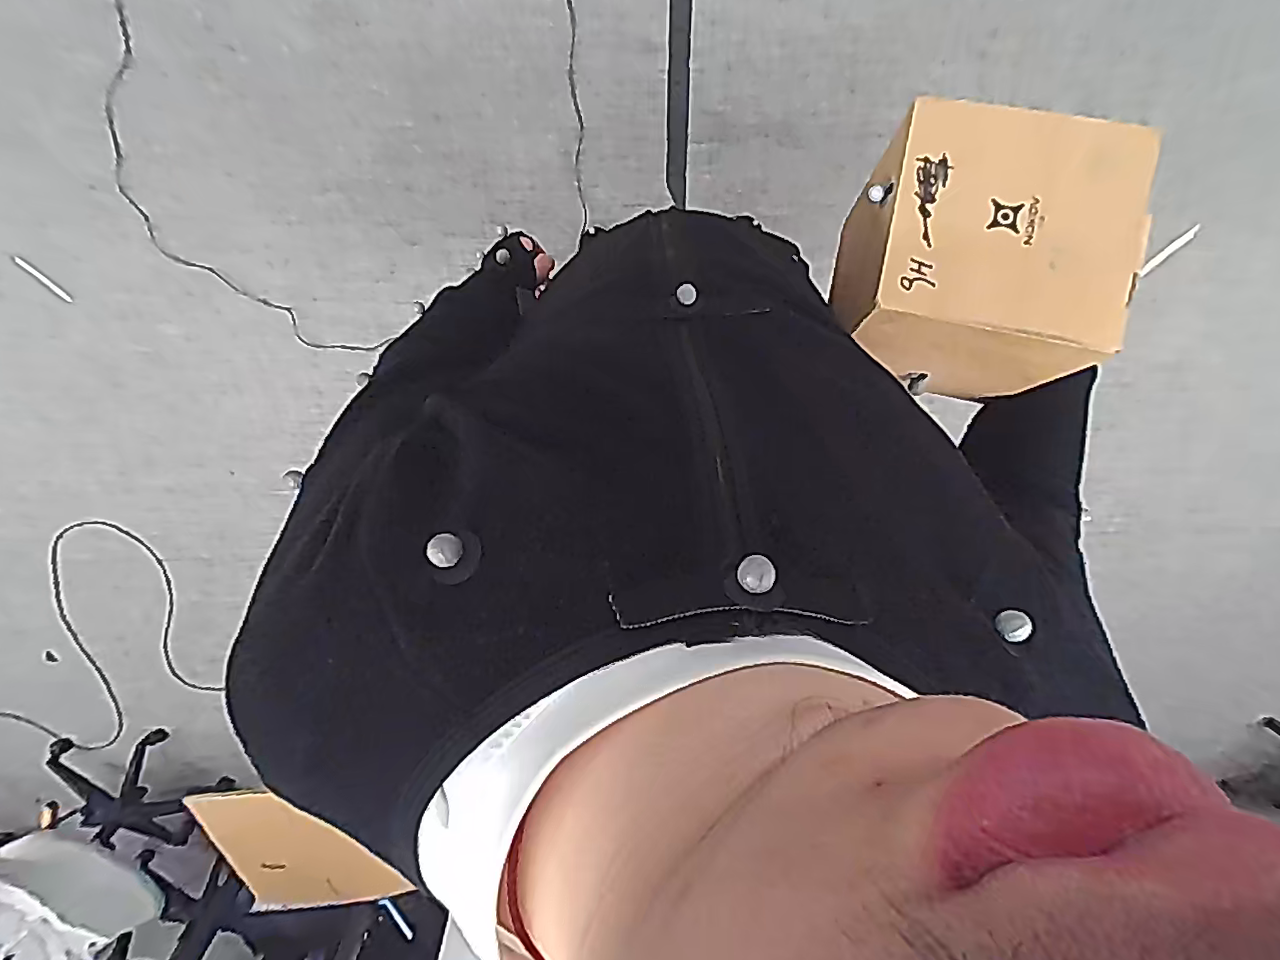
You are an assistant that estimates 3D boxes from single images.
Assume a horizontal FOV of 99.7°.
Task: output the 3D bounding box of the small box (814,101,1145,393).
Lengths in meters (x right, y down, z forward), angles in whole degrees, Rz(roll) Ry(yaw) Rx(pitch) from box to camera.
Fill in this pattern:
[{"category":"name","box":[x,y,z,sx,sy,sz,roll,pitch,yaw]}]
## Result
[{"category":"small box","box":[0.278,-0.186,0.483,0.179,0.176,0.168,13,86,3]}]
